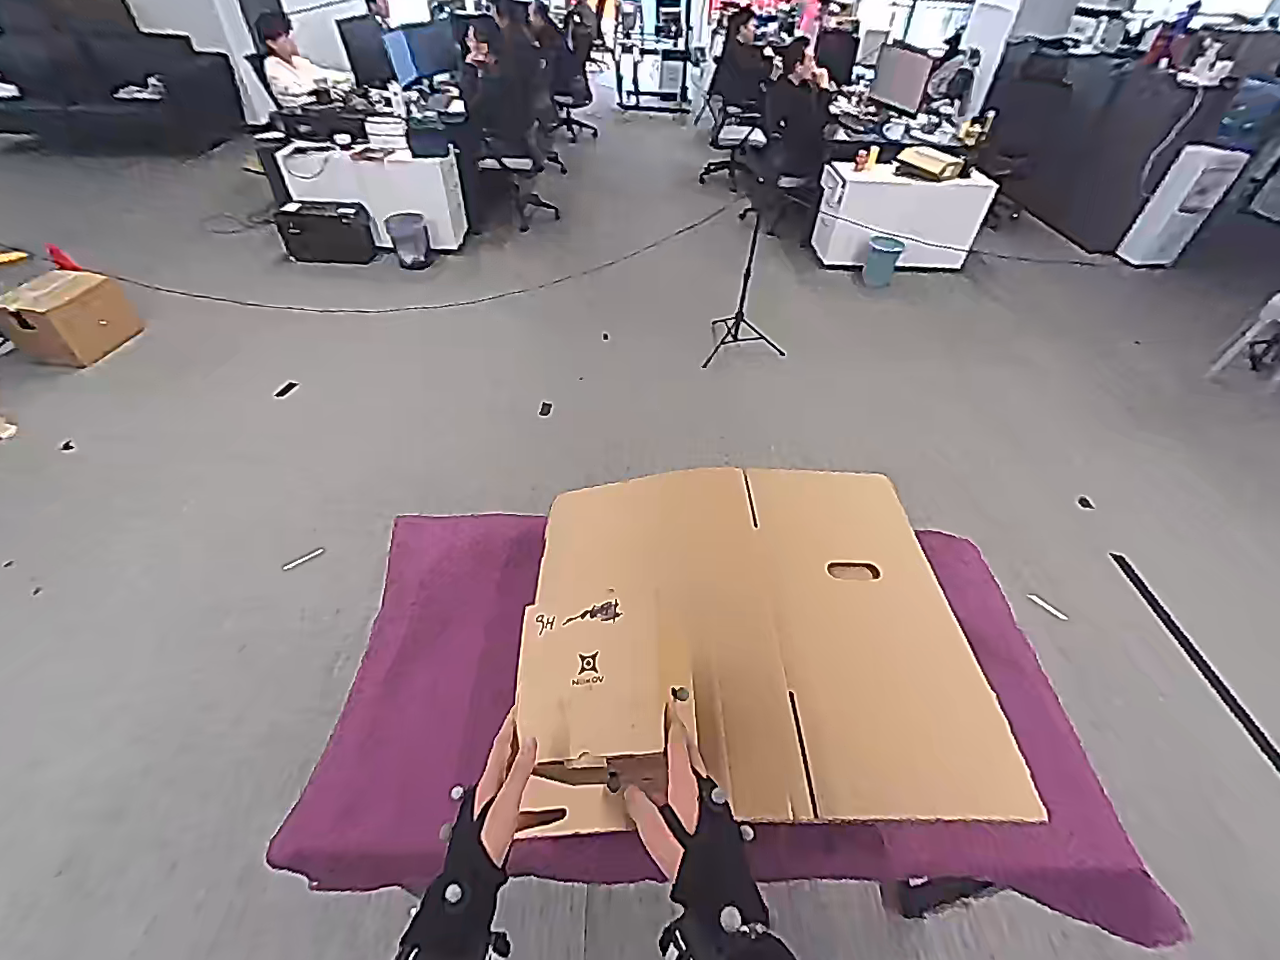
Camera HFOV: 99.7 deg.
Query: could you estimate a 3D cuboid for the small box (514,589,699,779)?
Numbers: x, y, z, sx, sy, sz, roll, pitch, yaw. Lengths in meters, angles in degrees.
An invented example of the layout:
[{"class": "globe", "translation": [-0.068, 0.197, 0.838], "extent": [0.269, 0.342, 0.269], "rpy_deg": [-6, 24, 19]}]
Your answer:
[{"class": "small box", "translation": [-0.030, 0.251, 0.643], "extent": [0.168, 0.176, 0.179], "rpy_deg": [-11, 54, 13]}]
